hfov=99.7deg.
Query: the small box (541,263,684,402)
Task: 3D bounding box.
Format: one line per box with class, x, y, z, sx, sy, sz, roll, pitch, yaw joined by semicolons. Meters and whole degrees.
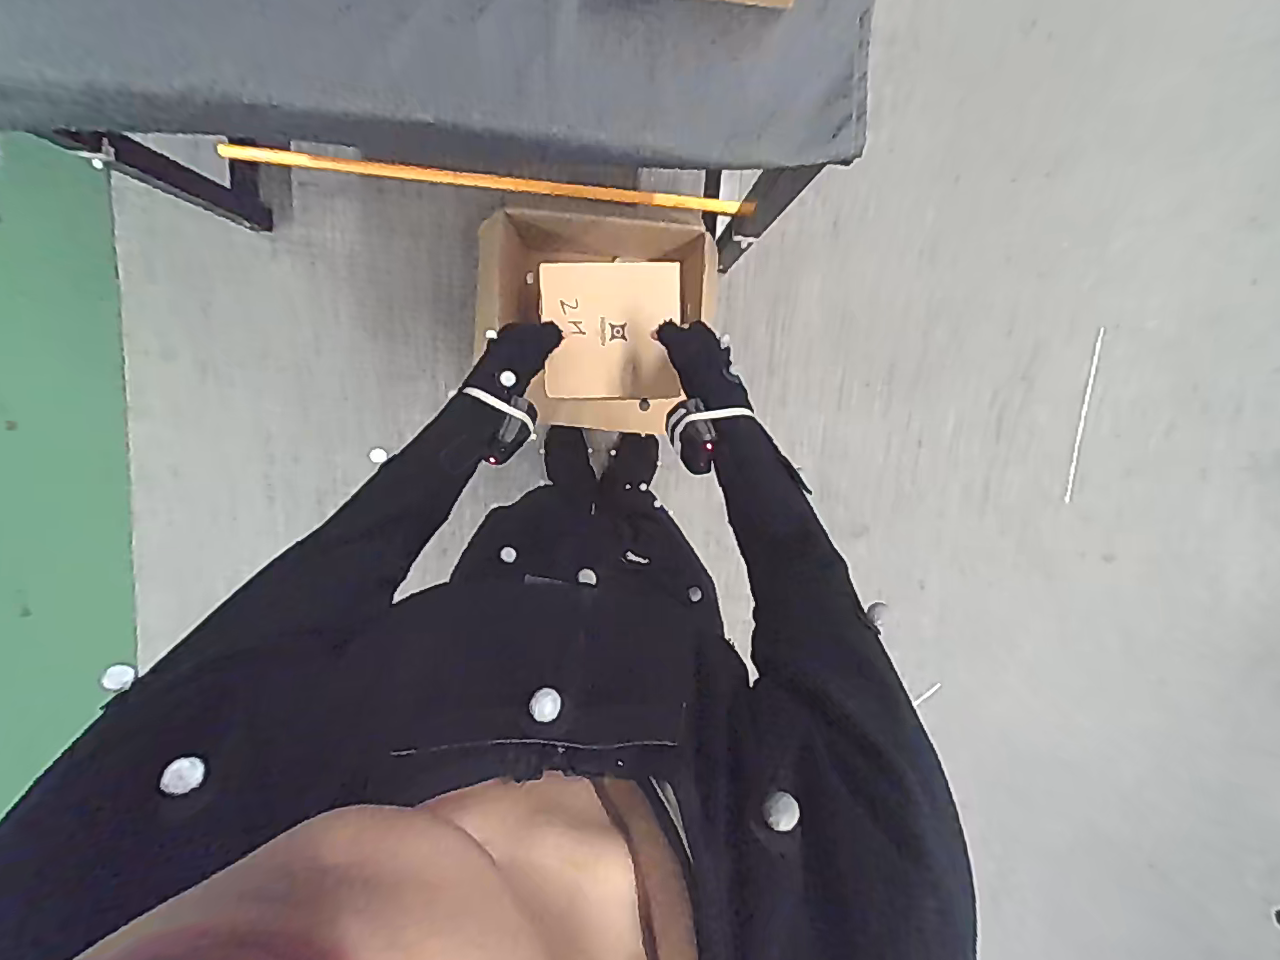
small box;-0.037;-0.194;0.747;0.179;0.176;0.168;-2;97;-2
